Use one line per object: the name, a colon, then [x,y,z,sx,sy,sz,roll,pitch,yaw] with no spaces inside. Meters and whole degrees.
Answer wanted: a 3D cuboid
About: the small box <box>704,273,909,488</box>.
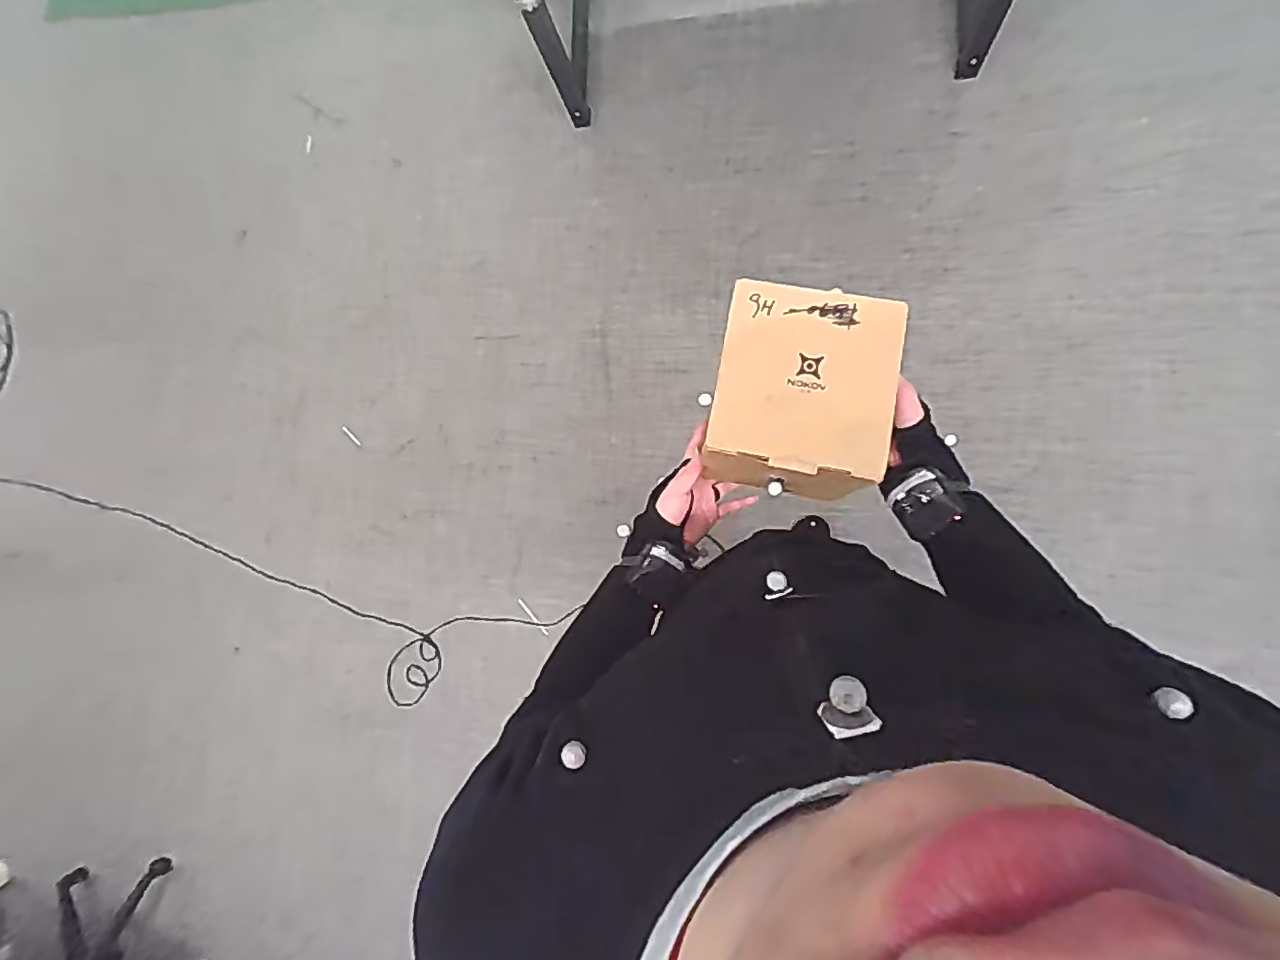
small box: [0.165,-0.094,0.589,0.168,0.176,0.179,11,83,6]
